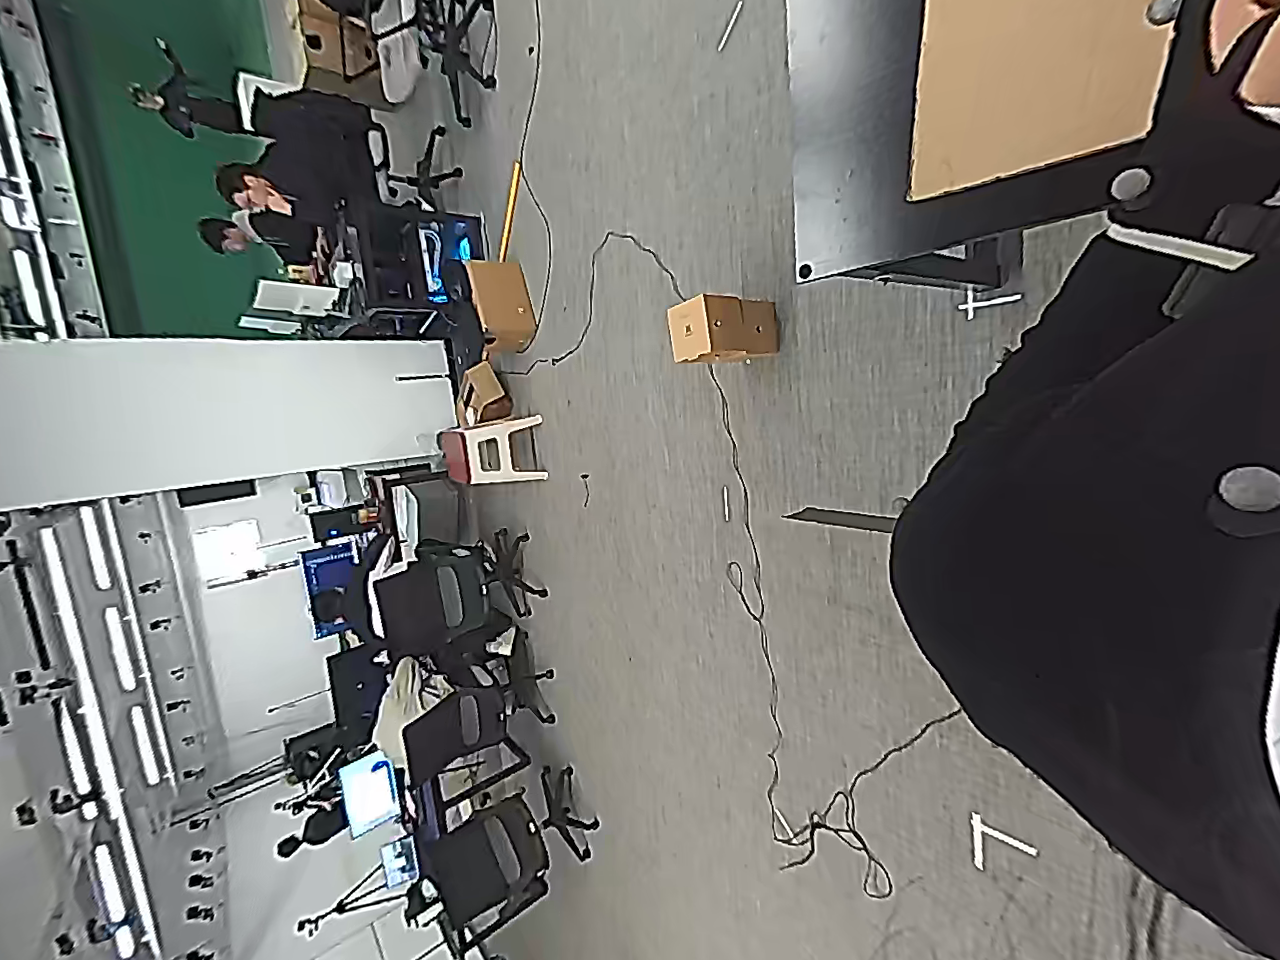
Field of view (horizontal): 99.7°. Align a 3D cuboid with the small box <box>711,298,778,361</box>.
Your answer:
[{"bbox_3d":[0.343,-0.499,1.813,0.168,0.176,0.179,0,100,52],"label":"small box"}]

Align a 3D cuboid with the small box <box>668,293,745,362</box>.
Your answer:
[{"bbox_3d":[0.215,-0.478,1.714,0.168,0.176,0.179,-5,94,51],"label":"small box"}]
